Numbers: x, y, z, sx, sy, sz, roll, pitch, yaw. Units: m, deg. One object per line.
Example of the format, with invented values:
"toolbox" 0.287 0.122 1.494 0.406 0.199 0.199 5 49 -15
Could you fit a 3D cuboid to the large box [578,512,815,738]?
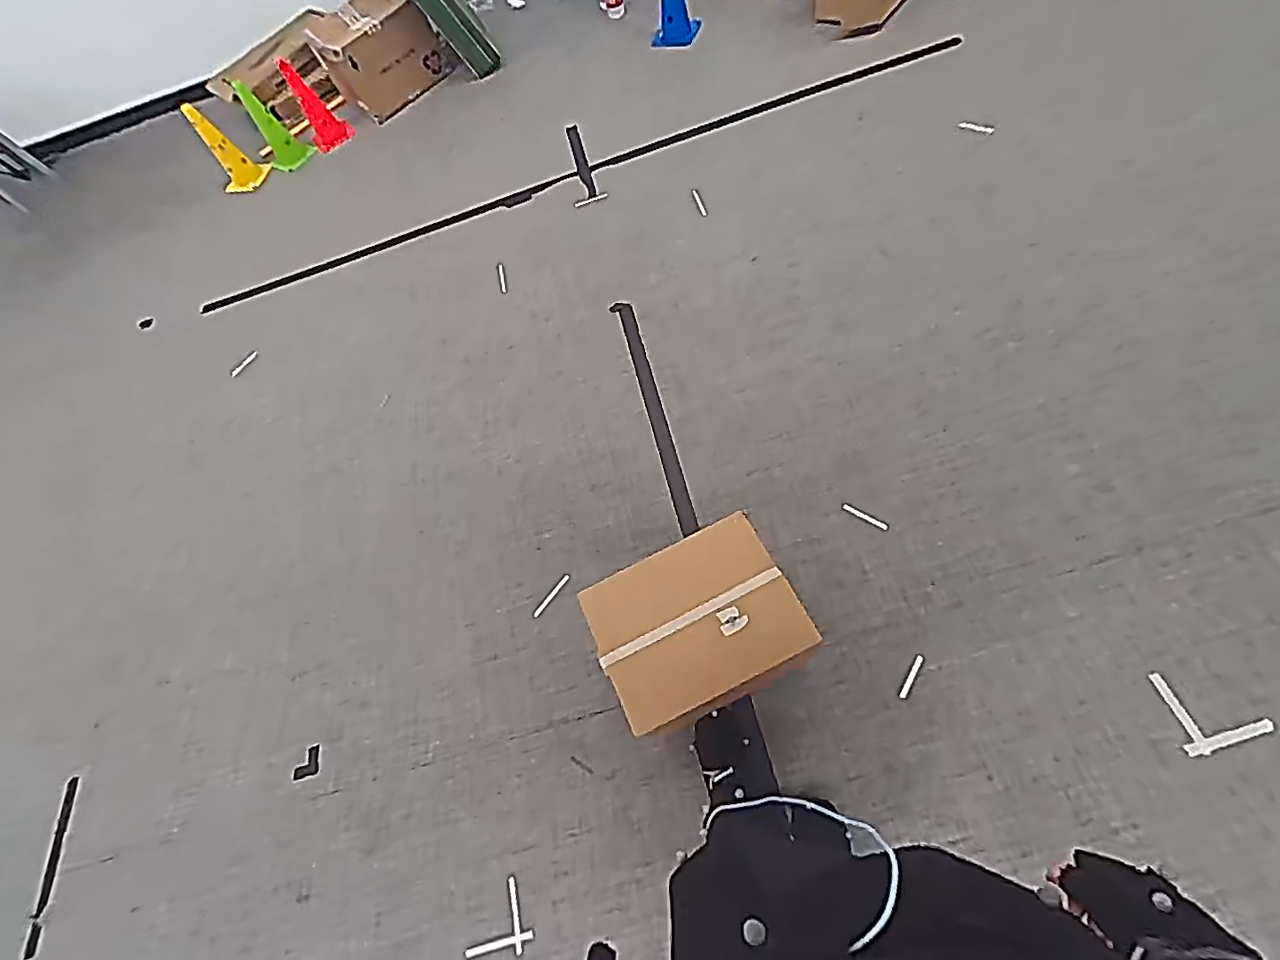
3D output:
"large box" 0.127 0.342 1.227 0.408 0.320 0.320 -26 63 -3
